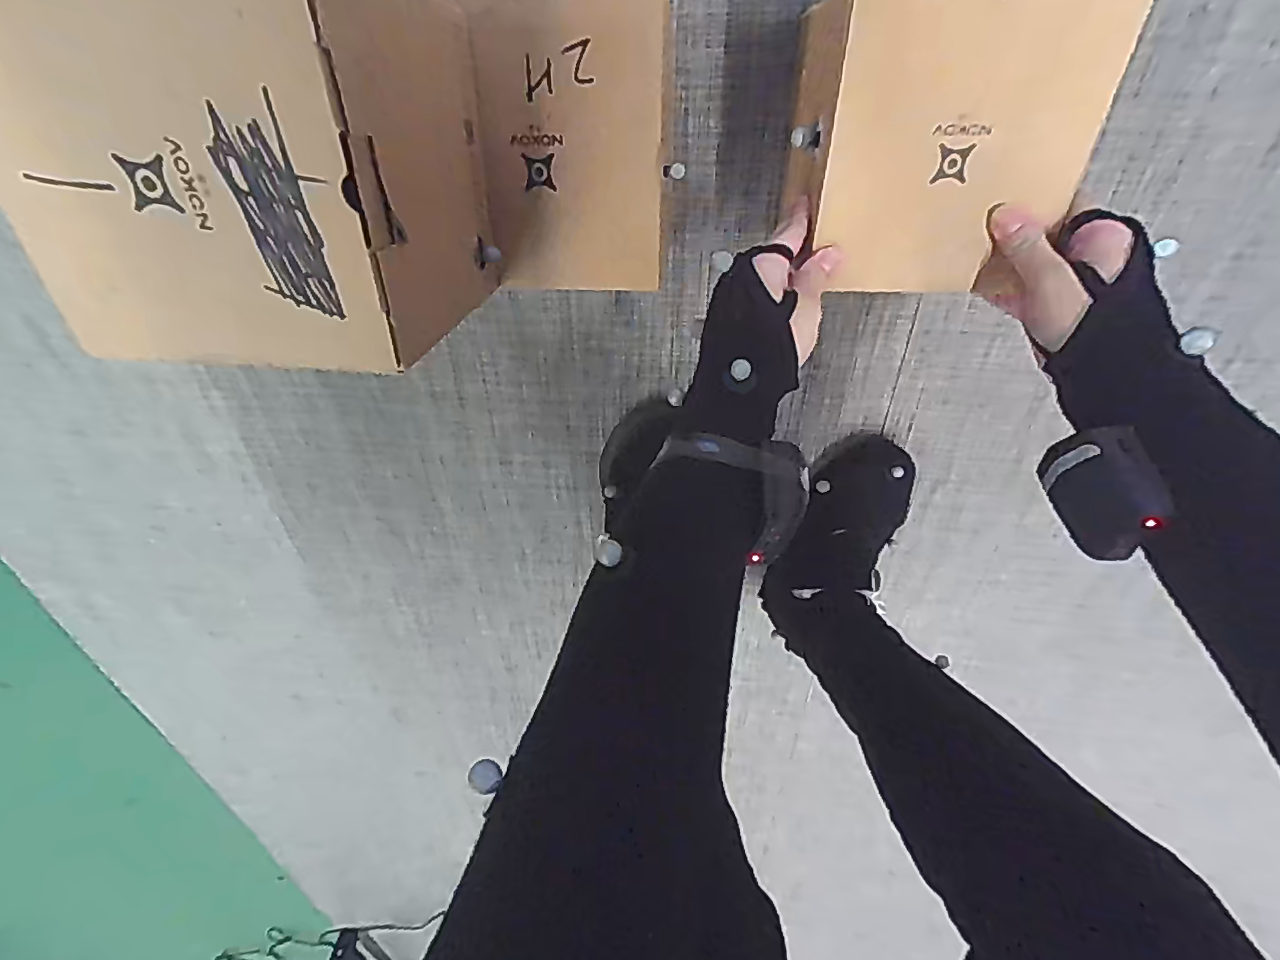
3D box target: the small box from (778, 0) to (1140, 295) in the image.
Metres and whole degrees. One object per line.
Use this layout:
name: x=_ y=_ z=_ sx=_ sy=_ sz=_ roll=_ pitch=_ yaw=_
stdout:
small box: x=0.207 y=-0.256 z=0.420 sx=0.168 sy=0.176 sz=0.179 roll=2 pitch=124 yaw=4

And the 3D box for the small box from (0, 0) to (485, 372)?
small box: x=-0.198 y=-0.173 z=0.308 sx=0.179 sy=0.176 sz=0.168 roll=4 pitch=124 yaw=3
